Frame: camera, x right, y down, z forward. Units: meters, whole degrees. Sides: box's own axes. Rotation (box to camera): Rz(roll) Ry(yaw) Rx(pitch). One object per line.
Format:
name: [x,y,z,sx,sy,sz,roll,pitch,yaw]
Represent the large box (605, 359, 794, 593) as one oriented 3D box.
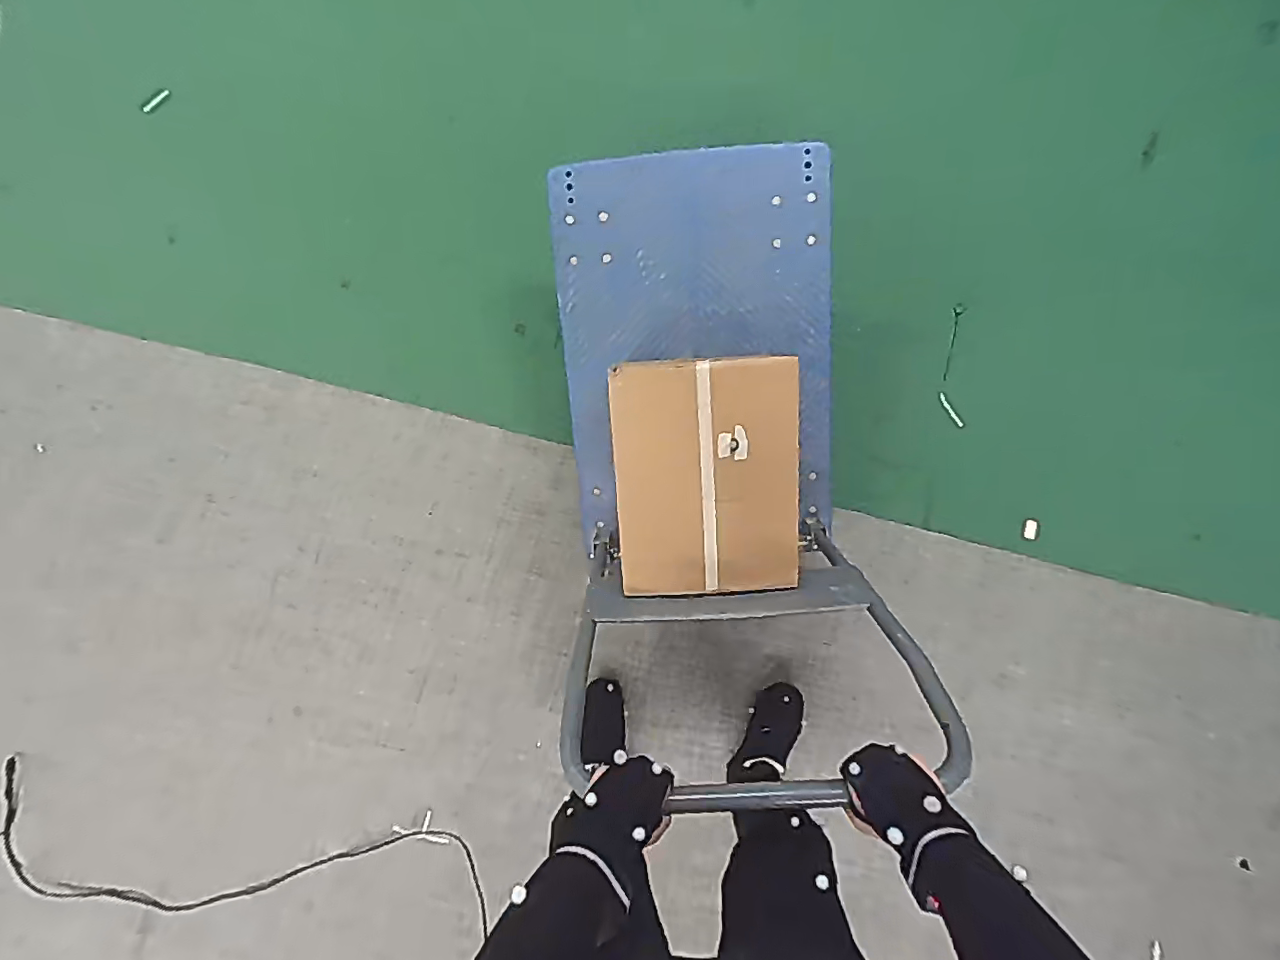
large box: [0.116,-0.024,1.095,0.320,0.320,0.408,-4,101,2]
